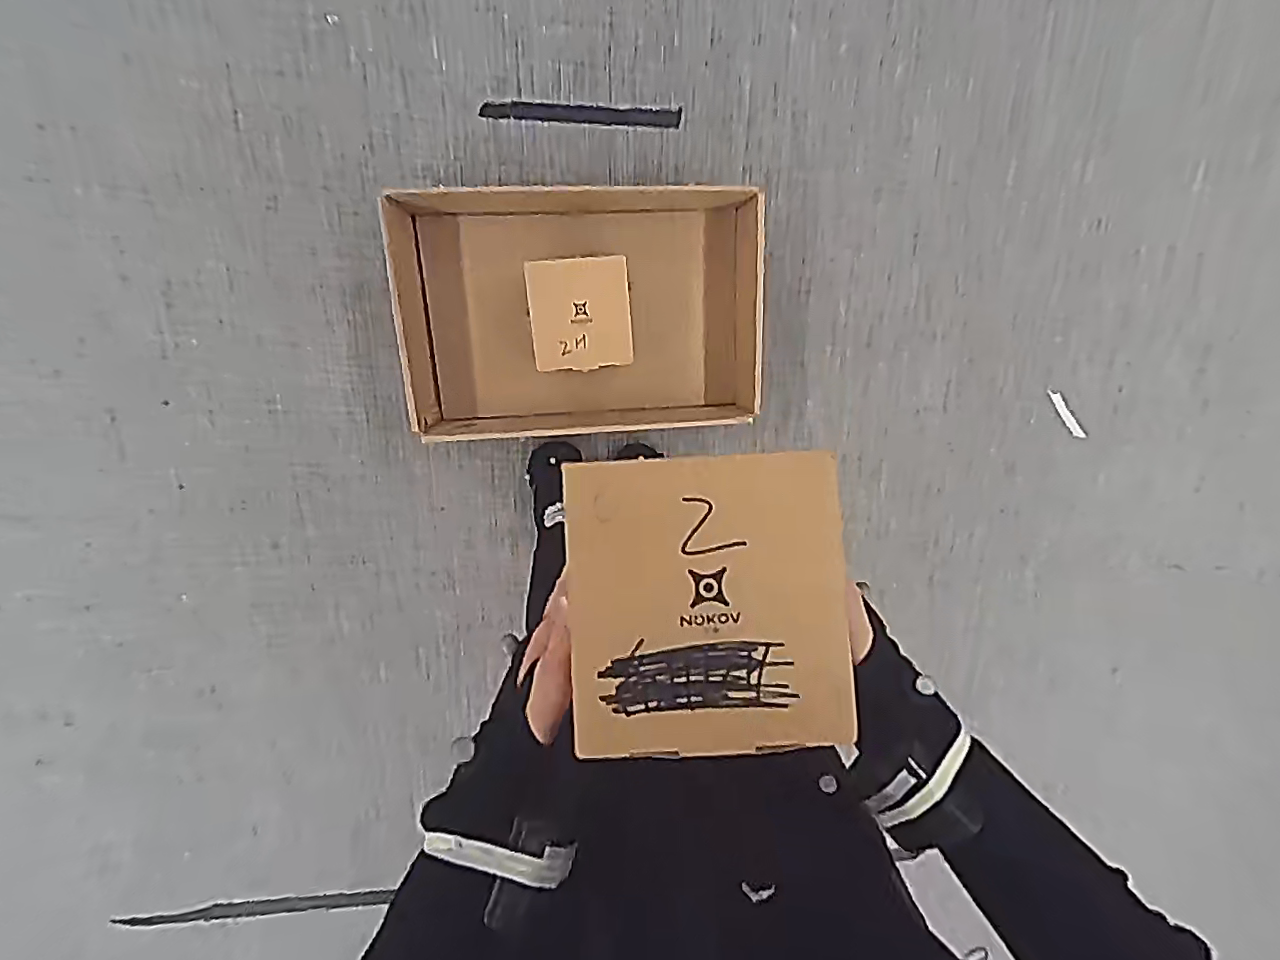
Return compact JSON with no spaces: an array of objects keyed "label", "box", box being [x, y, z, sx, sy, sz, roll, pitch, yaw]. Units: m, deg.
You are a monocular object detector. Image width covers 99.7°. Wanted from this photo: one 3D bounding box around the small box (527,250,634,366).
[{"label":"small box","box":[-0.104,-0.299,0.959,0.168,0.176,0.179,-5,107,-5]}]
